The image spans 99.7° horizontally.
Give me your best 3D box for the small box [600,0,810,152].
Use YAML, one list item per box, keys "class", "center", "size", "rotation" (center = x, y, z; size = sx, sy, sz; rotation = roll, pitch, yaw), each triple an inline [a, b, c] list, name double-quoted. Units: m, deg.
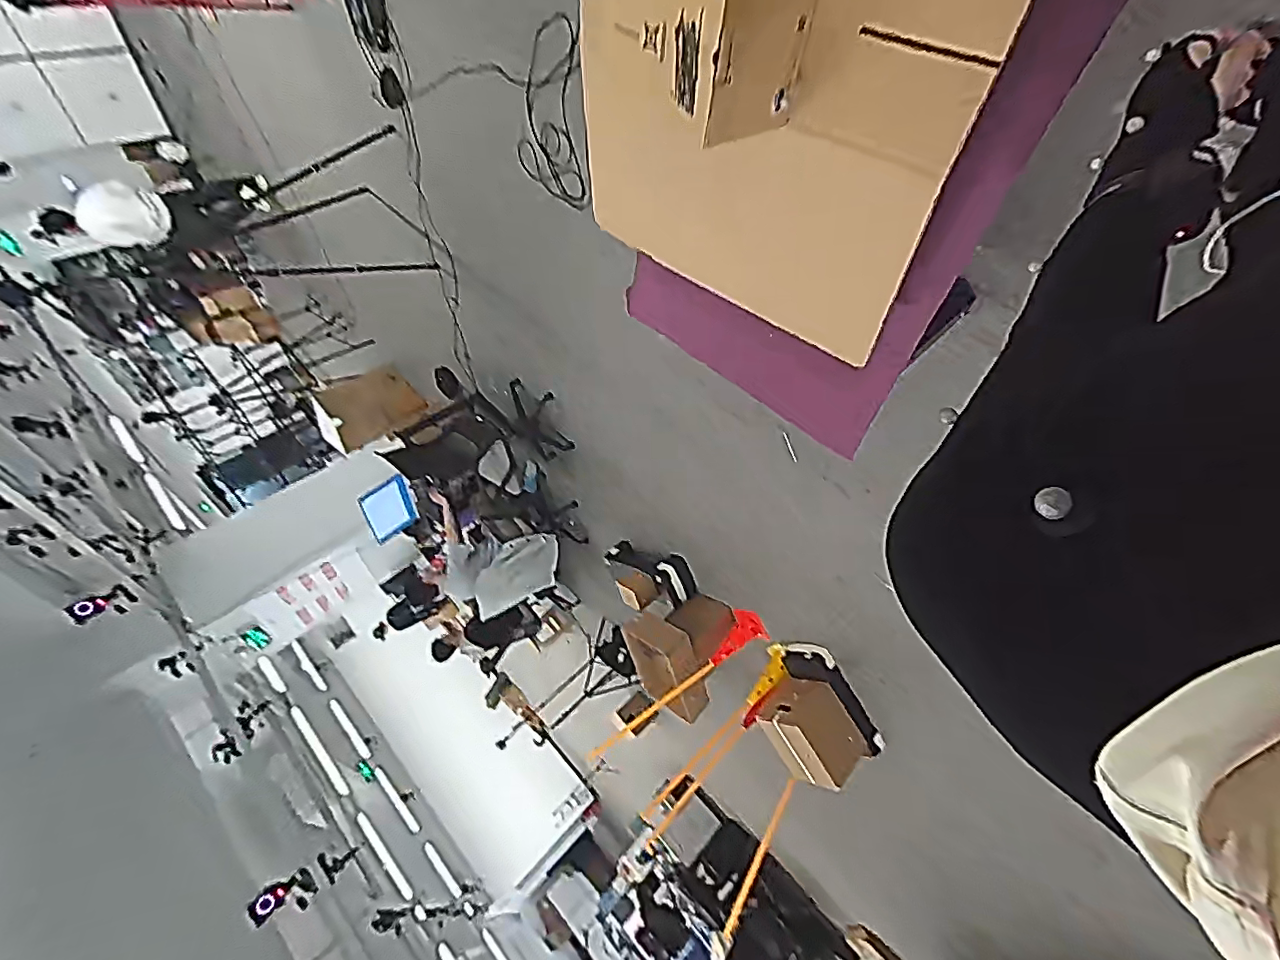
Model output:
- class: "small box"
  center: [0.073, -0.513, 0.629]
  size: [0.179, 0.176, 0.168]
  rotation: [39, 145, 25]
